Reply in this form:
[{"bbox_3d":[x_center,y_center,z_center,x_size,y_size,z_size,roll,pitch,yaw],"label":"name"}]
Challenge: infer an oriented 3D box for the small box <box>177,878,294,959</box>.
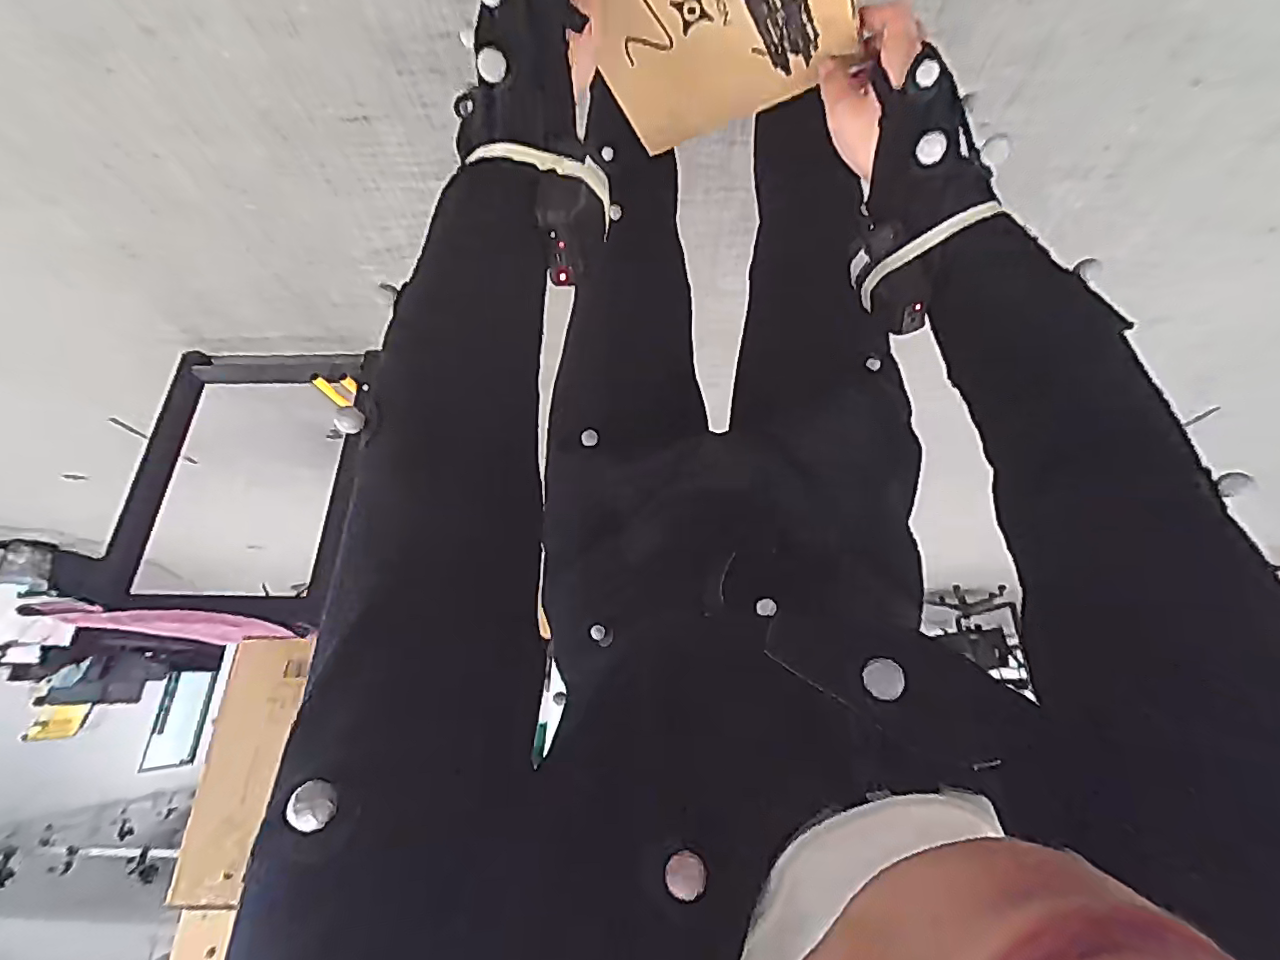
[{"bbox_3d":[-1.022,1.132,1.365,0.168,0.176,0.179,-2,161,6],"label":"small box"}]
